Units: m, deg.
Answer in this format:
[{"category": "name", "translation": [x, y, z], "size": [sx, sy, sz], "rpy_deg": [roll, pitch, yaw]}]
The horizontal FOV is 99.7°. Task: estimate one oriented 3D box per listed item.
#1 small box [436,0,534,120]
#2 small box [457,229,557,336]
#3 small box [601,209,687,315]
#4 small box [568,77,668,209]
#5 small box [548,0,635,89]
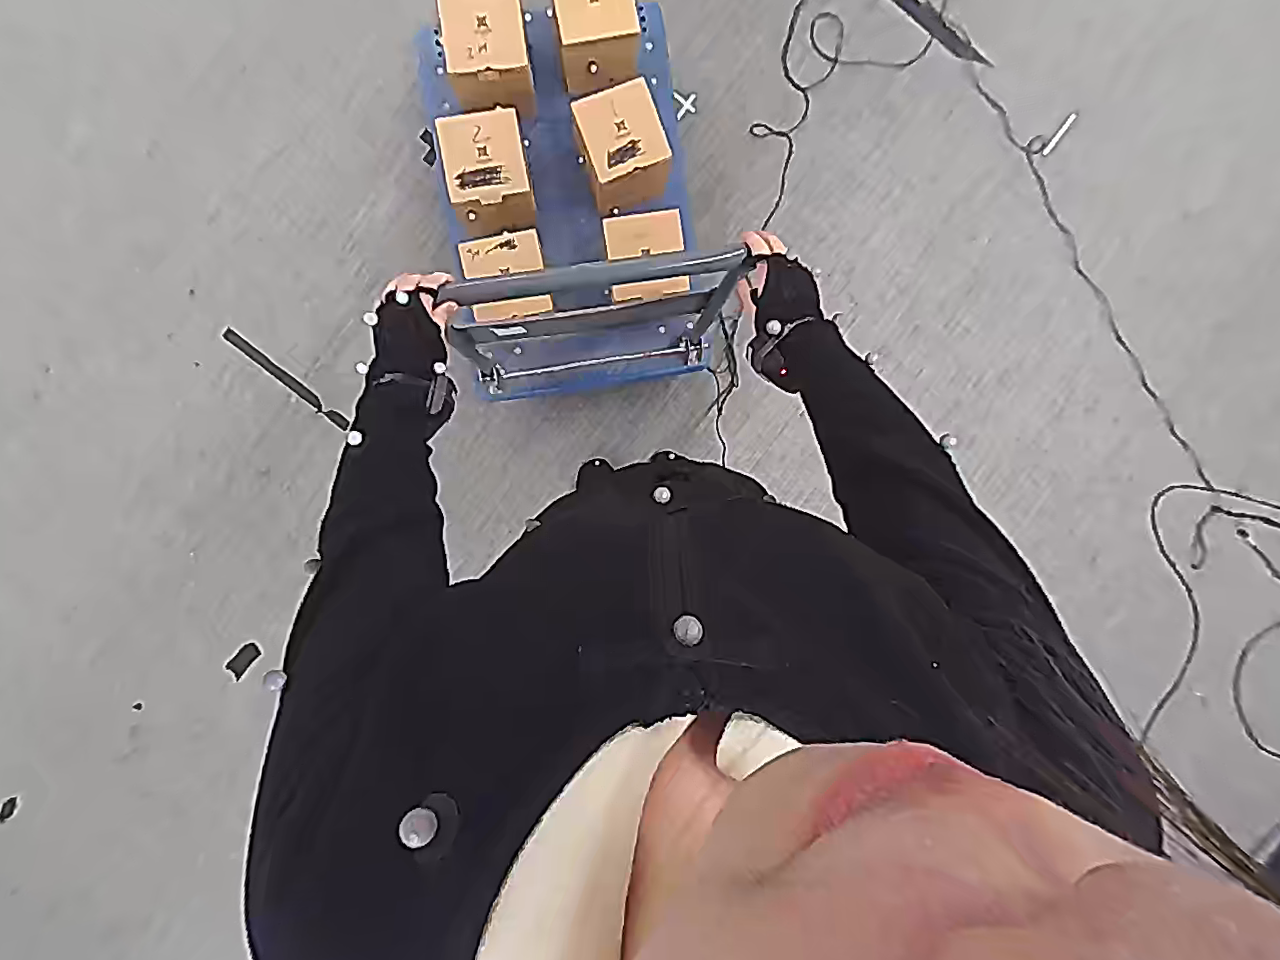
[{"category": "small box", "translation": [-0.330, -0.924, 1.173], "size": [0.168, 0.176, 0.179], "rpy_deg": [-7, 95, -3]}, {"category": "small box", "translation": [-0.287, -0.428, 1.205], "size": [0.168, 0.176, 0.179], "rpy_deg": [-13, 94, -4]}, {"category": "small box", "translation": [0.007, -0.481, 1.221], "size": [0.168, 0.176, 0.179], "rpy_deg": [-9, 93, -3]}, {"category": "small box", "translation": [-0.048, -0.733, 1.203], "size": [0.168, 0.176, 0.179], "rpy_deg": [-21, 93, -2]}, {"category": "small box", "translation": [-0.107, -0.999, 1.185], "size": [0.168, 0.176, 0.179], "rpy_deg": [-12, 94, -3]}]
